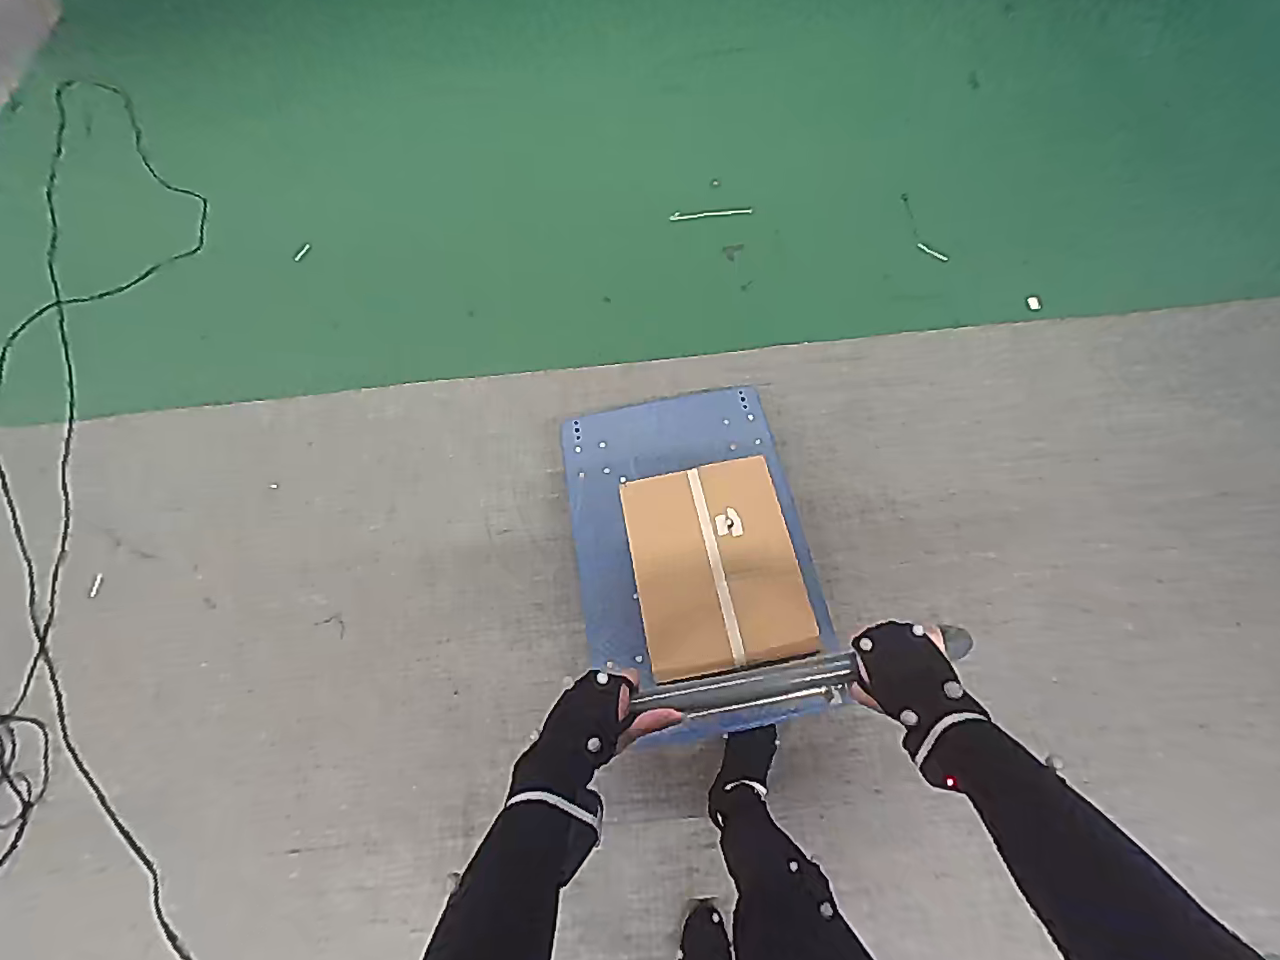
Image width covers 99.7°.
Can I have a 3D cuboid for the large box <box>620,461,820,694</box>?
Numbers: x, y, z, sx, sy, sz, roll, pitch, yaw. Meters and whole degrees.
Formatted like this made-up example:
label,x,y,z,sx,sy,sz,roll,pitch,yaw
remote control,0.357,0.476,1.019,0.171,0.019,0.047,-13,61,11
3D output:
label,x,y,z,sx,sy,sz,roll,pitch,yaw
large box,0.158,0.227,1.200,0.320,0.320,0.408,-11,64,-1
